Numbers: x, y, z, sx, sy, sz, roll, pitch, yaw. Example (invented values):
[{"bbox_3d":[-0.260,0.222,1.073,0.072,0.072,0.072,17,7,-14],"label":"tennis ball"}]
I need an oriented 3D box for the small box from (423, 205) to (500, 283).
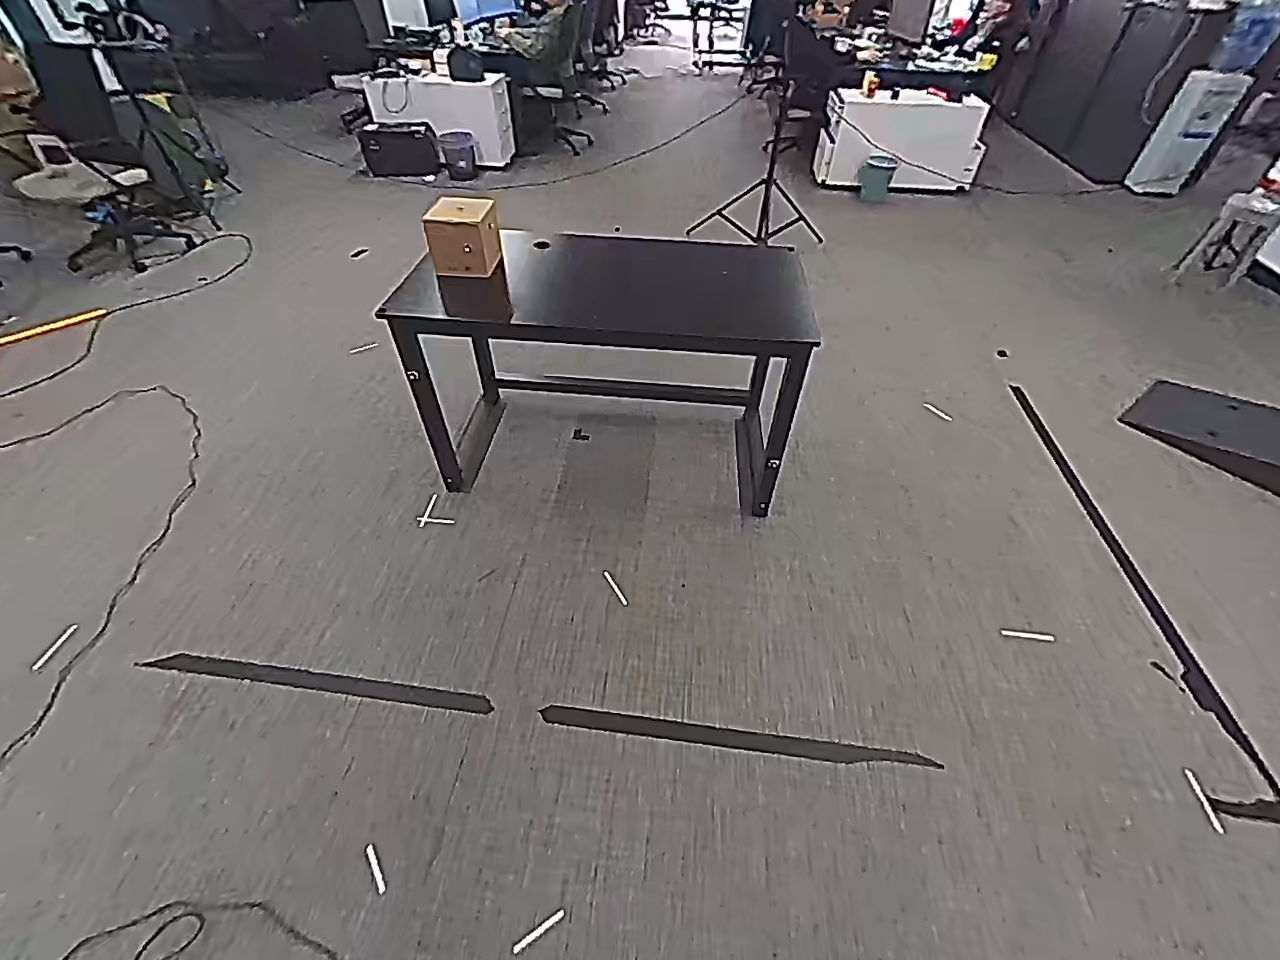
[{"bbox_3d":[-0.536,-0.718,1.650,0.168,0.176,0.179,4,45,1],"label":"small box"}]
